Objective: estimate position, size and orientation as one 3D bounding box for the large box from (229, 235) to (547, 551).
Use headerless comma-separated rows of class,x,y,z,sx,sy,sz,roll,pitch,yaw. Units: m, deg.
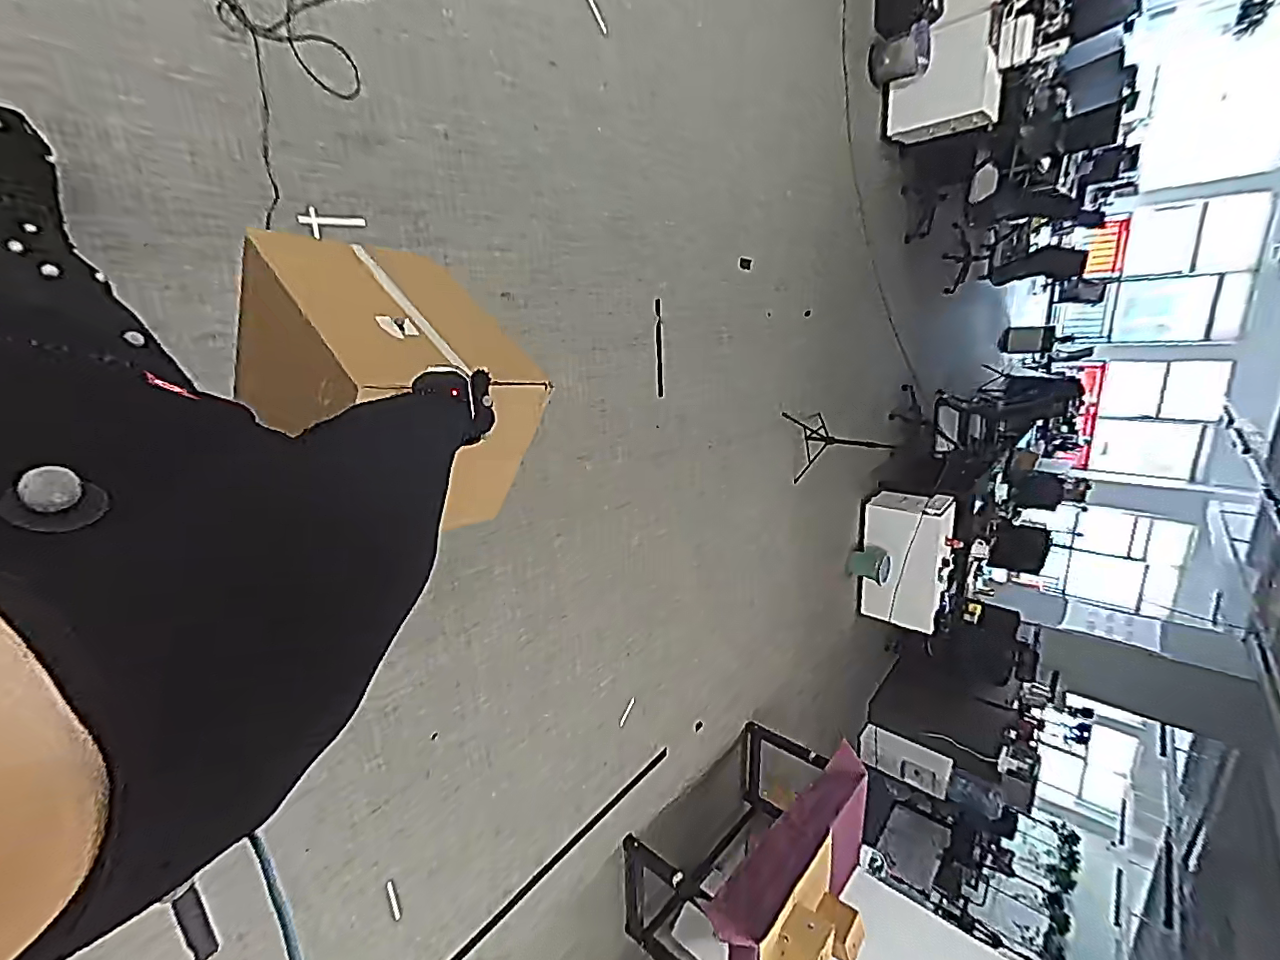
large box,-0.443,-0.149,0.929,0.320,0.408,0.320,-14,143,-51
